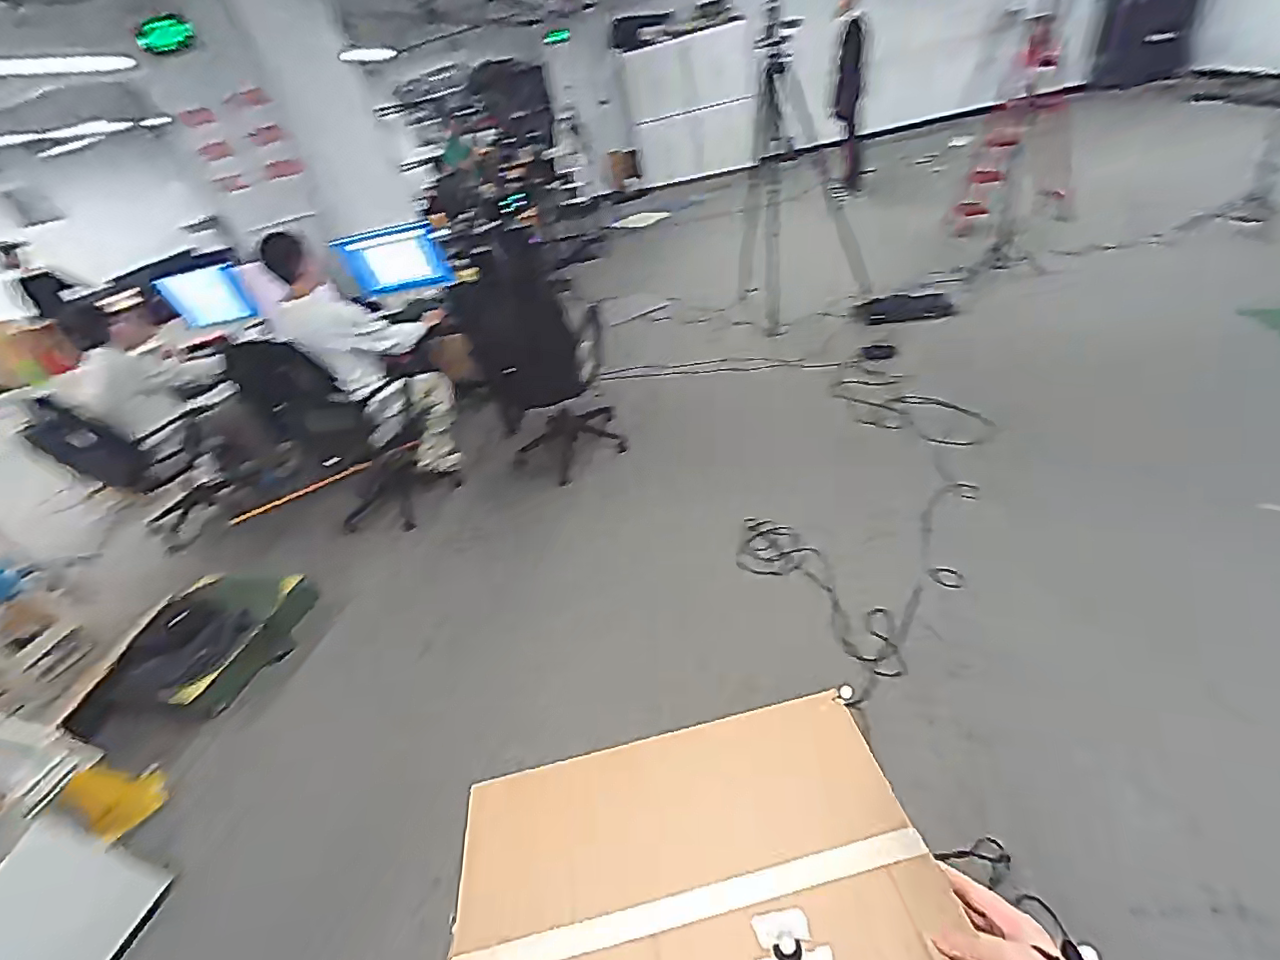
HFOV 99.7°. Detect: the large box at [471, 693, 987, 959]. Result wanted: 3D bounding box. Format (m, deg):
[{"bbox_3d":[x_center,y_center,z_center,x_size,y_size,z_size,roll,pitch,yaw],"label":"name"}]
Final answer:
[{"bbox_3d":[0.074,0.479,0.537,0.408,0.320,0.320,-12,32,-2],"label":"large box"}]
